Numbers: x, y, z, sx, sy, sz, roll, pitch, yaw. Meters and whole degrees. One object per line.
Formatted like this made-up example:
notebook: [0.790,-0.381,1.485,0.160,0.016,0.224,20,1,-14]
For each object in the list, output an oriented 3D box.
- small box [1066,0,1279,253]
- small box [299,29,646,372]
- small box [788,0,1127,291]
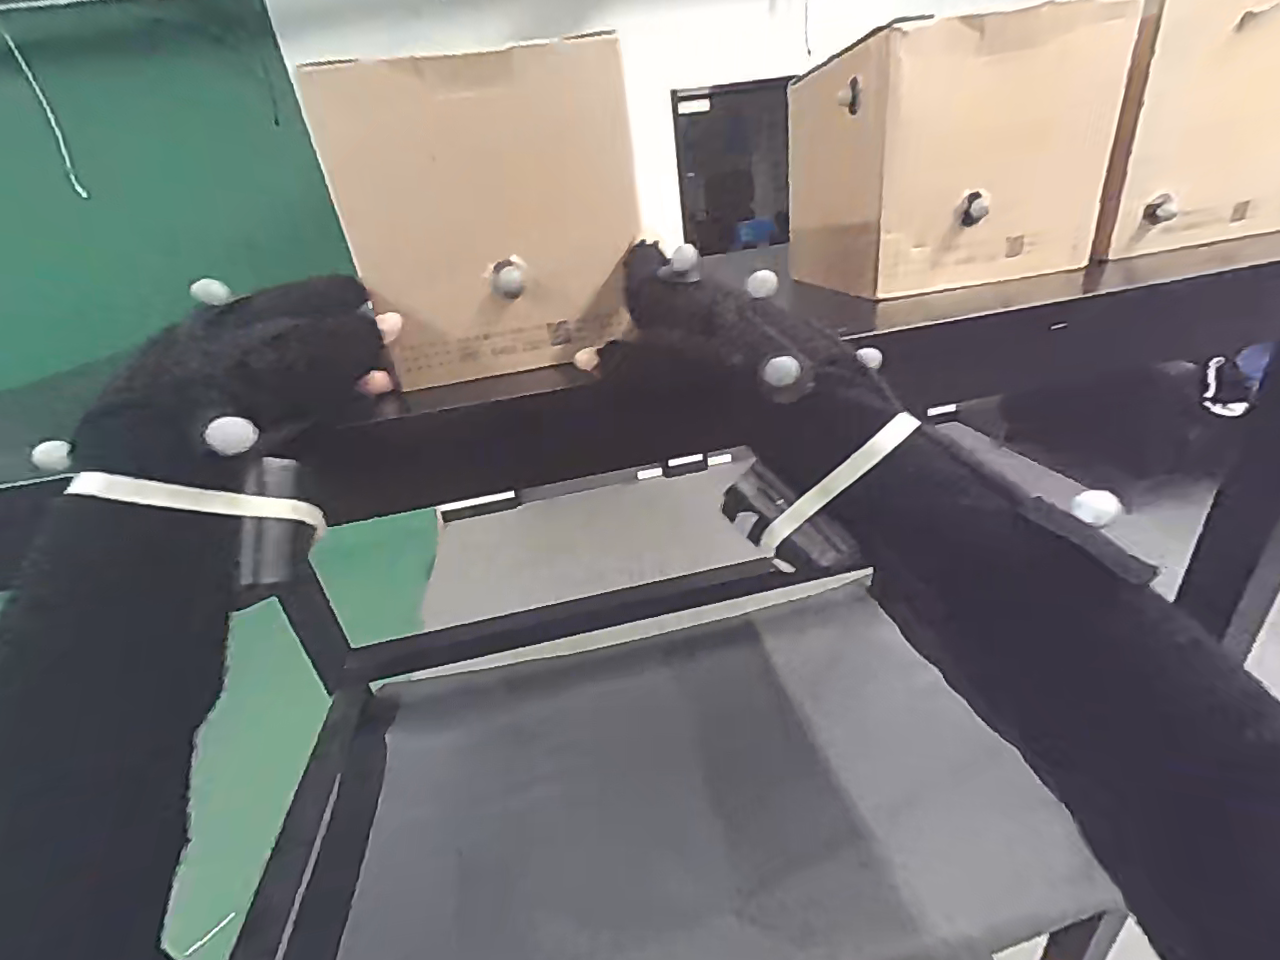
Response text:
small box: [0.406,-0.294,0.460,0.168,0.176,0.179,-10,25,-3]
small box: [-0.098,-0.185,0.389,0.168,0.176,0.179,-12,26,-6]
small box: [0.228,-0.258,0.446,0.168,0.176,0.179,-9,26,-3]
